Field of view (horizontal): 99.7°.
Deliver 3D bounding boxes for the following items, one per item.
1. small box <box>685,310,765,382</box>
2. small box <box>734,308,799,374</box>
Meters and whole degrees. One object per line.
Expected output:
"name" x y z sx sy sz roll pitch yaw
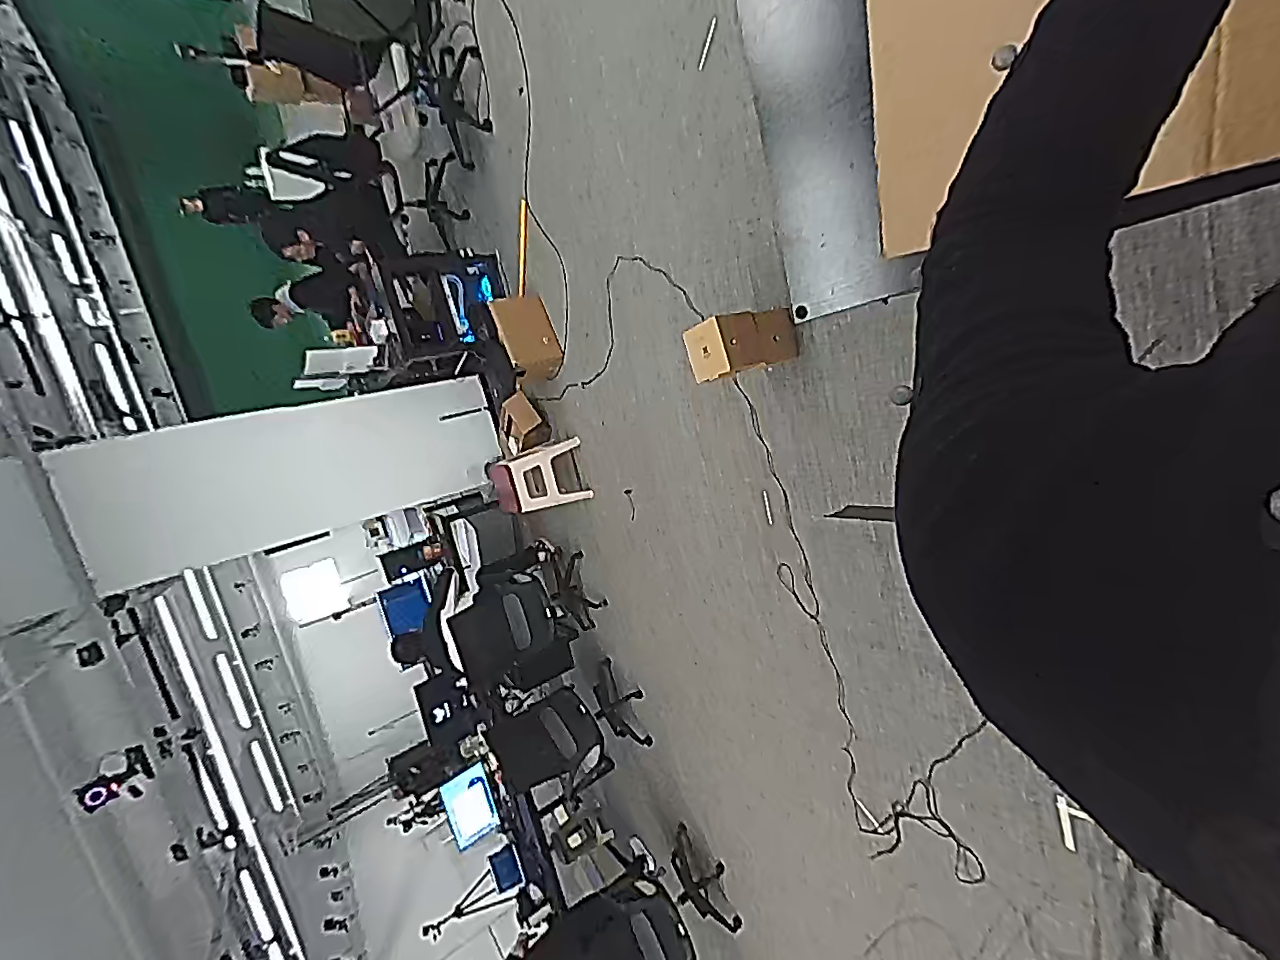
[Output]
"small box" 0.278 -0.434 1.748 0.168 0.176 0.179 -12 94 57
"small box" 0.410 -0.474 1.835 0.168 0.176 0.179 -6 101 57
